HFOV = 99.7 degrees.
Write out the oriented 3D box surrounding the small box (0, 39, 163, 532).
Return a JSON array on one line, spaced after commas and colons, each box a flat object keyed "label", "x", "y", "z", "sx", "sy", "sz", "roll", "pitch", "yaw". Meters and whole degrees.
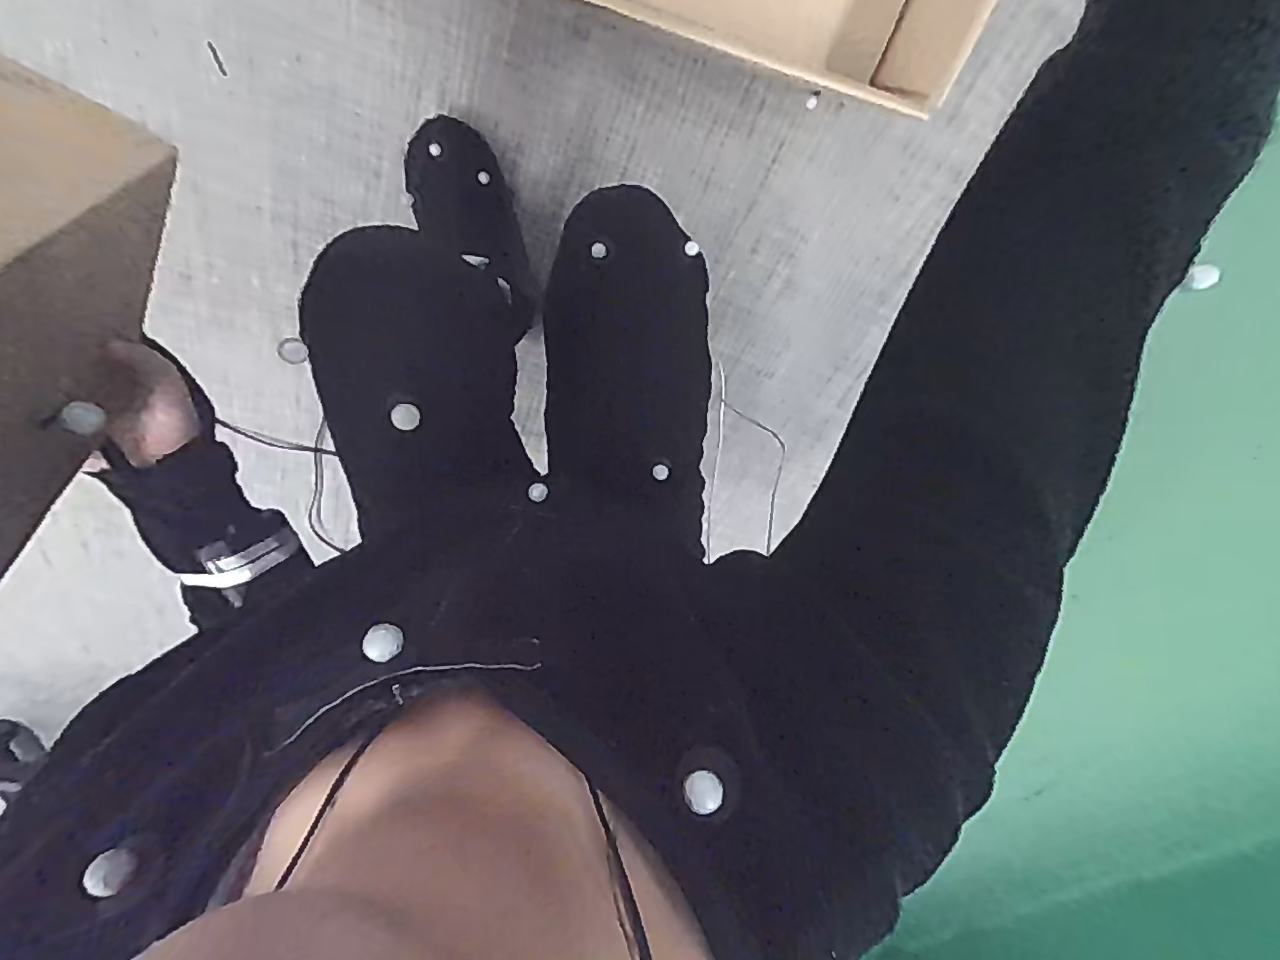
[{"label": "small box", "x": -0.311, "y": -0.077, "z": 0.191, "sx": 0.168, "sy": 0.176, "sz": 0.179, "roll": 21, "pitch": 120, "yaw": -35}]
